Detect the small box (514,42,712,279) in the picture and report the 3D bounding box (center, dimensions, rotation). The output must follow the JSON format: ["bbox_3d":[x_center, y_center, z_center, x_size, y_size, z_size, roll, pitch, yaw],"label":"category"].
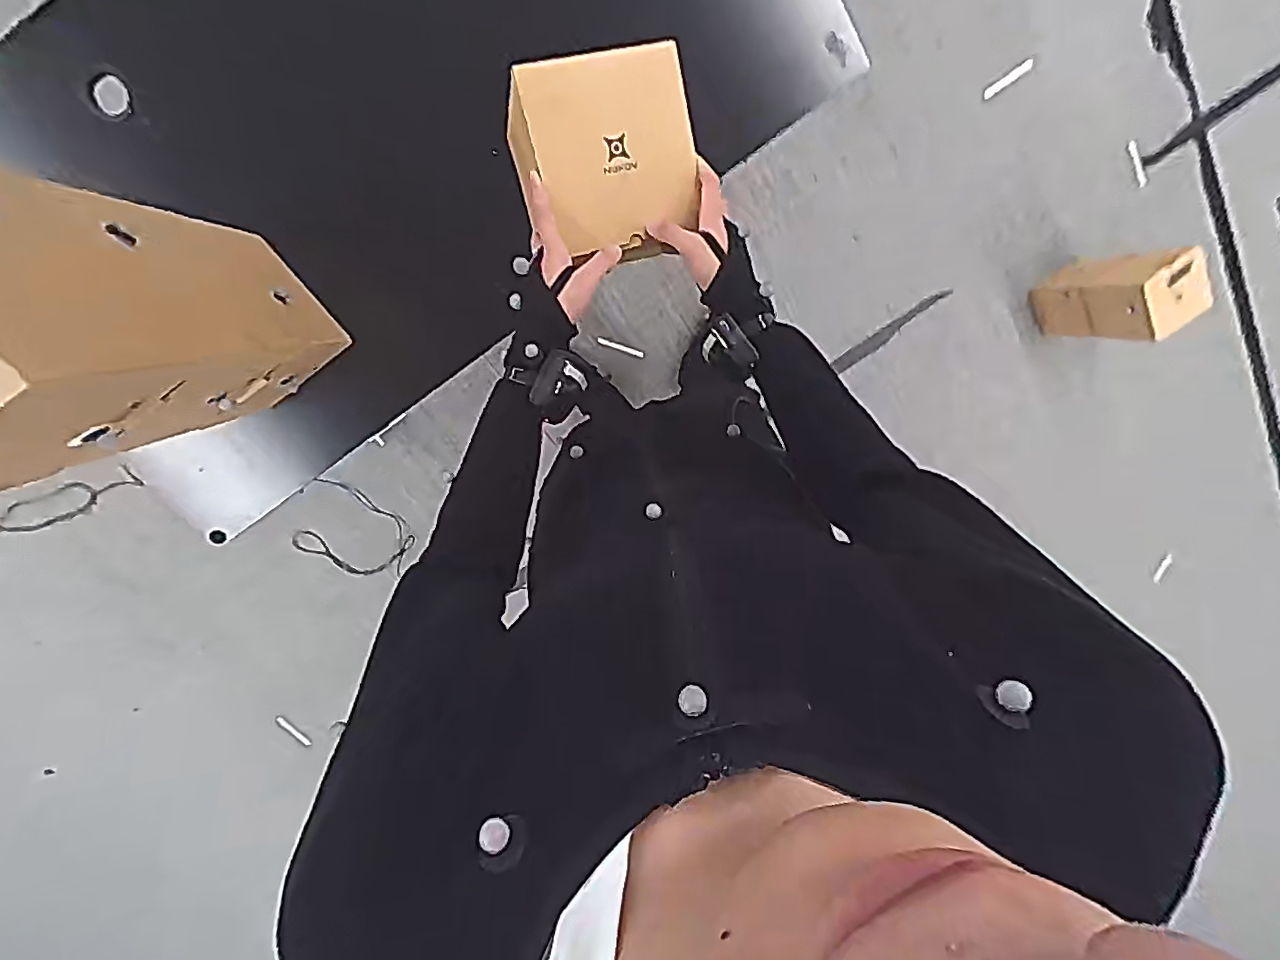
[{"bbox_3d":[-0.039,-0.340,0.607,0.168,0.176,0.179,-17,108,-10],"label":"small box"}]

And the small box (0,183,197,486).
[{"bbox_3d":[-0.474,-0.096,0.364,0.168,0.176,0.179,-36,108,5],"label":"small box"}]

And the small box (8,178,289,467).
[{"bbox_3d":[-0.496,-0.143,0.518,0.168,0.176,0.179,-36,108,5],"label":"small box"}]

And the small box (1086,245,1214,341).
[{"bbox_3d":[1.330,-0.486,1.422,0.168,0.176,0.179,-35,110,4],"label":"small box"}]

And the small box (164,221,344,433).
[{"bbox_3d":[-0.516,-0.189,0.675,0.168,0.176,0.179,-37,108,4],"label":"small box"}]
